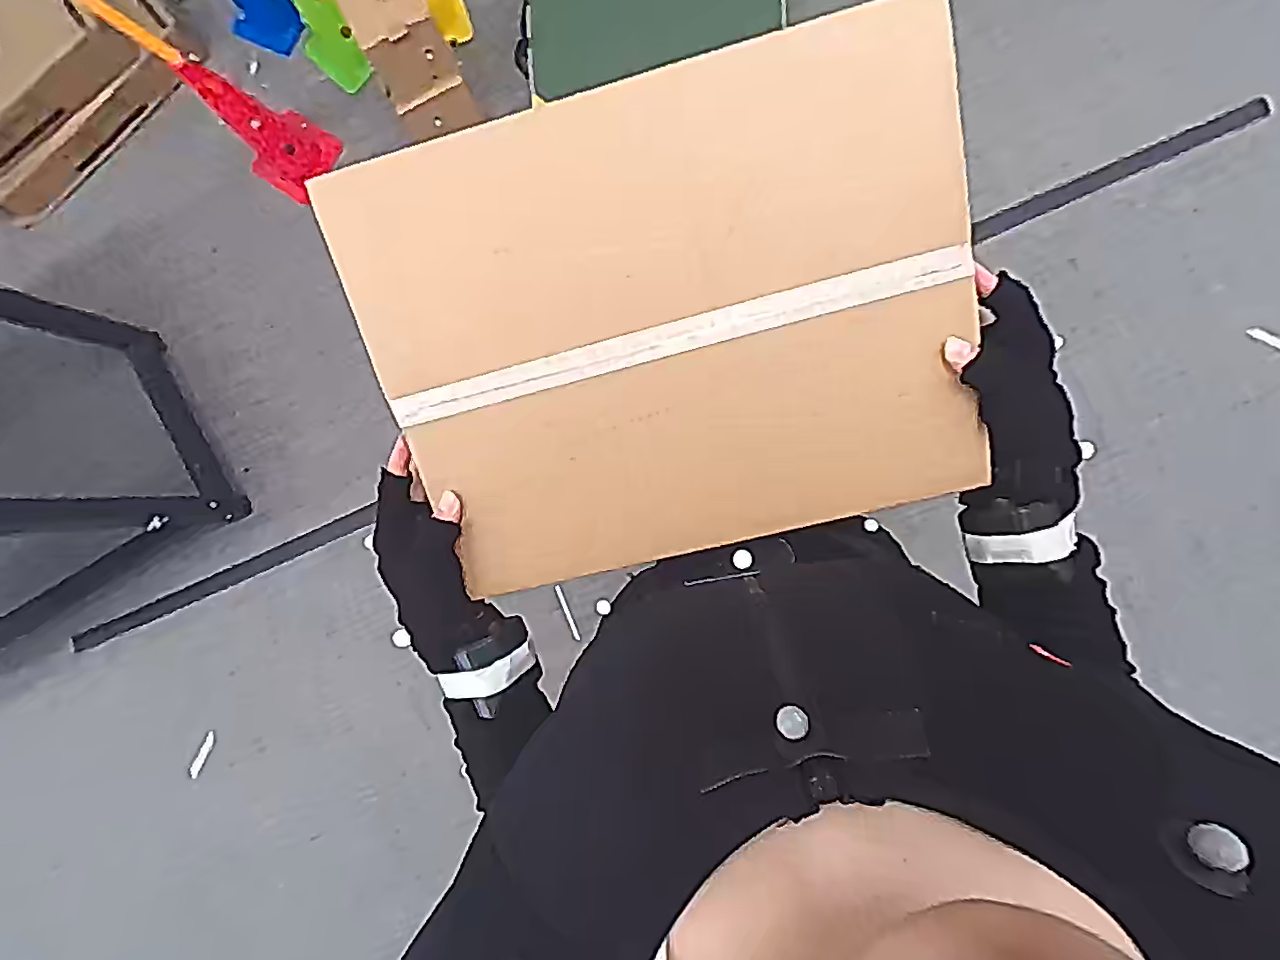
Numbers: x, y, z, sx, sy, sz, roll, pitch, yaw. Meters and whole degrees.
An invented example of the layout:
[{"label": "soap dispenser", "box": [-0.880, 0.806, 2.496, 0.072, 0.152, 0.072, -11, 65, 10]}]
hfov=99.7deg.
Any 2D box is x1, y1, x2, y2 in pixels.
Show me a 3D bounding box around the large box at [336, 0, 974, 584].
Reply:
[{"label": "large box", "box": [0.024, -0.142, 0.525, 0.408, 0.320, 0.320, -13, 107, 6]}]
